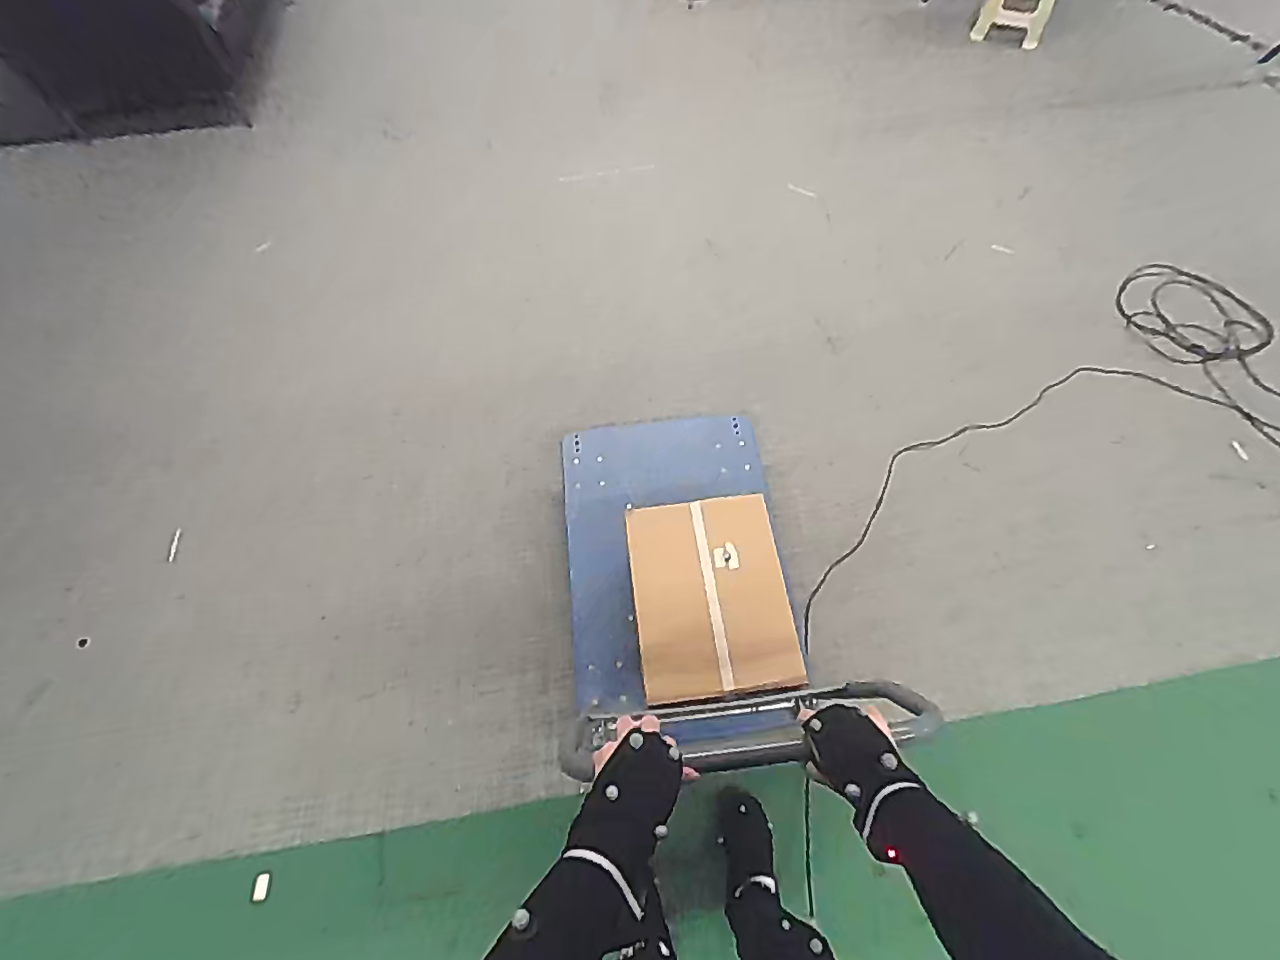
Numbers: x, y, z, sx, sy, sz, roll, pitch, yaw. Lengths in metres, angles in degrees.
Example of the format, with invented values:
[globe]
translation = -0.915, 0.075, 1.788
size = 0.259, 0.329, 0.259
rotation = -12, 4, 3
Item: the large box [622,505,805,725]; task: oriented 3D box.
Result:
[large box]
translation = 0.142, 0.319, 1.247
size = 0.320, 0.320, 0.408
rotation = -7, 62, -3
